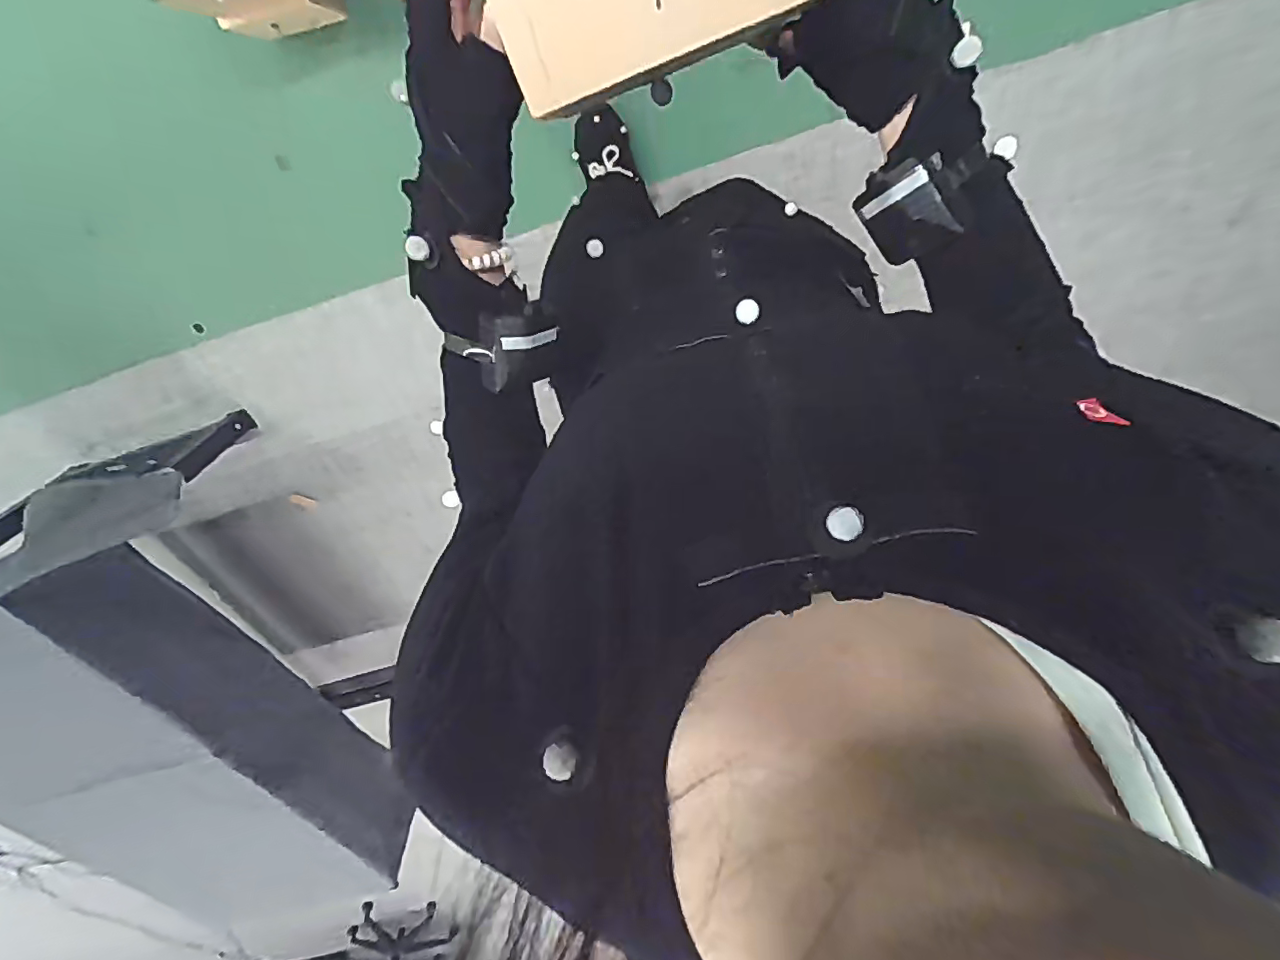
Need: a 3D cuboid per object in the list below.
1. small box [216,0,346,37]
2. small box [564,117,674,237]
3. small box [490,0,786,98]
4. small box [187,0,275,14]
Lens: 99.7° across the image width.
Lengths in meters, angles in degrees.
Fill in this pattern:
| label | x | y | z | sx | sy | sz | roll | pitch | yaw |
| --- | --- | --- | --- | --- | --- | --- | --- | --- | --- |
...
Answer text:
| label | x | y | z | sx | sy | sz | roll | pitch | yaw |
| --- | --- | --- | --- | --- | --- | --- | --- | --- | --- |
| small box | -0.654 | -0.903 | 0.943 | 0.168 | 0.176 | 0.179 | -11 | 122 | 4 |
| small box | -0.050 | -0.654 | 1.166 | 0.179 | 0.176 | 0.168 | 26 | 131 | -1 |
| small box | -0.012 | -0.338 | 0.294 | 0.168 | 0.176 | 0.179 | -15 | 123 | 10 |
| small box | -0.639 | -0.824 | 0.797 | 0.179 | 0.176 | 0.168 | -12 | 123 | 4 |
